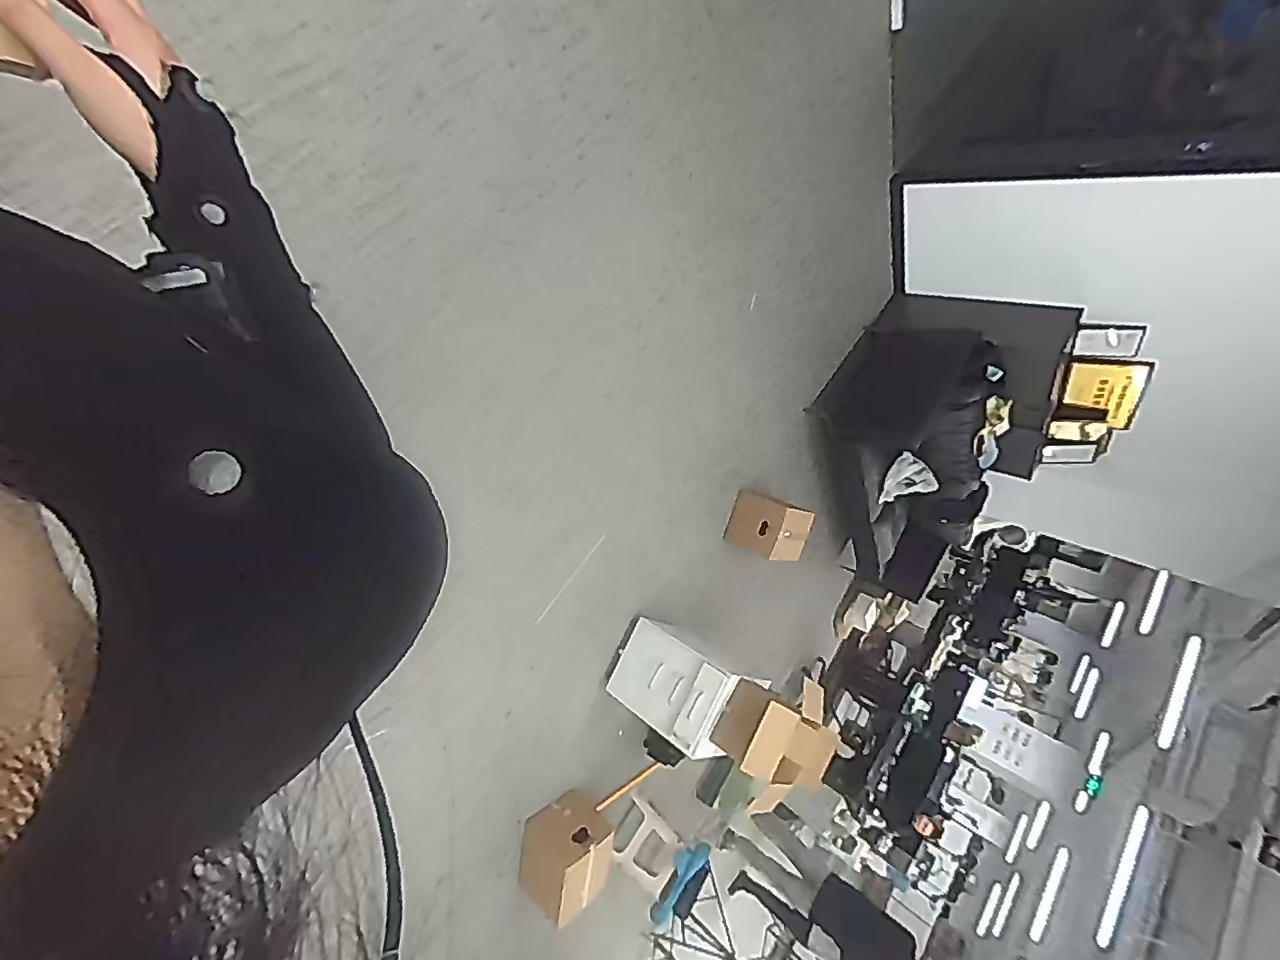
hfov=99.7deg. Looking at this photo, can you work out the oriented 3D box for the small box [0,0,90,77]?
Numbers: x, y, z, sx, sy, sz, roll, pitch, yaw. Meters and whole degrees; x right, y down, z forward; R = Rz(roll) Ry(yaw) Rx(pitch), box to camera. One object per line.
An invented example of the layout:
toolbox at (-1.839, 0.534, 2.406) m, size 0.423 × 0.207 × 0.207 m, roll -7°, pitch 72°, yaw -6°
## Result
small box at (-0.430, -0.335, 0.276) m, size 0.179 × 0.176 × 0.168 m, roll -14°, pitch 124°, yaw -46°
